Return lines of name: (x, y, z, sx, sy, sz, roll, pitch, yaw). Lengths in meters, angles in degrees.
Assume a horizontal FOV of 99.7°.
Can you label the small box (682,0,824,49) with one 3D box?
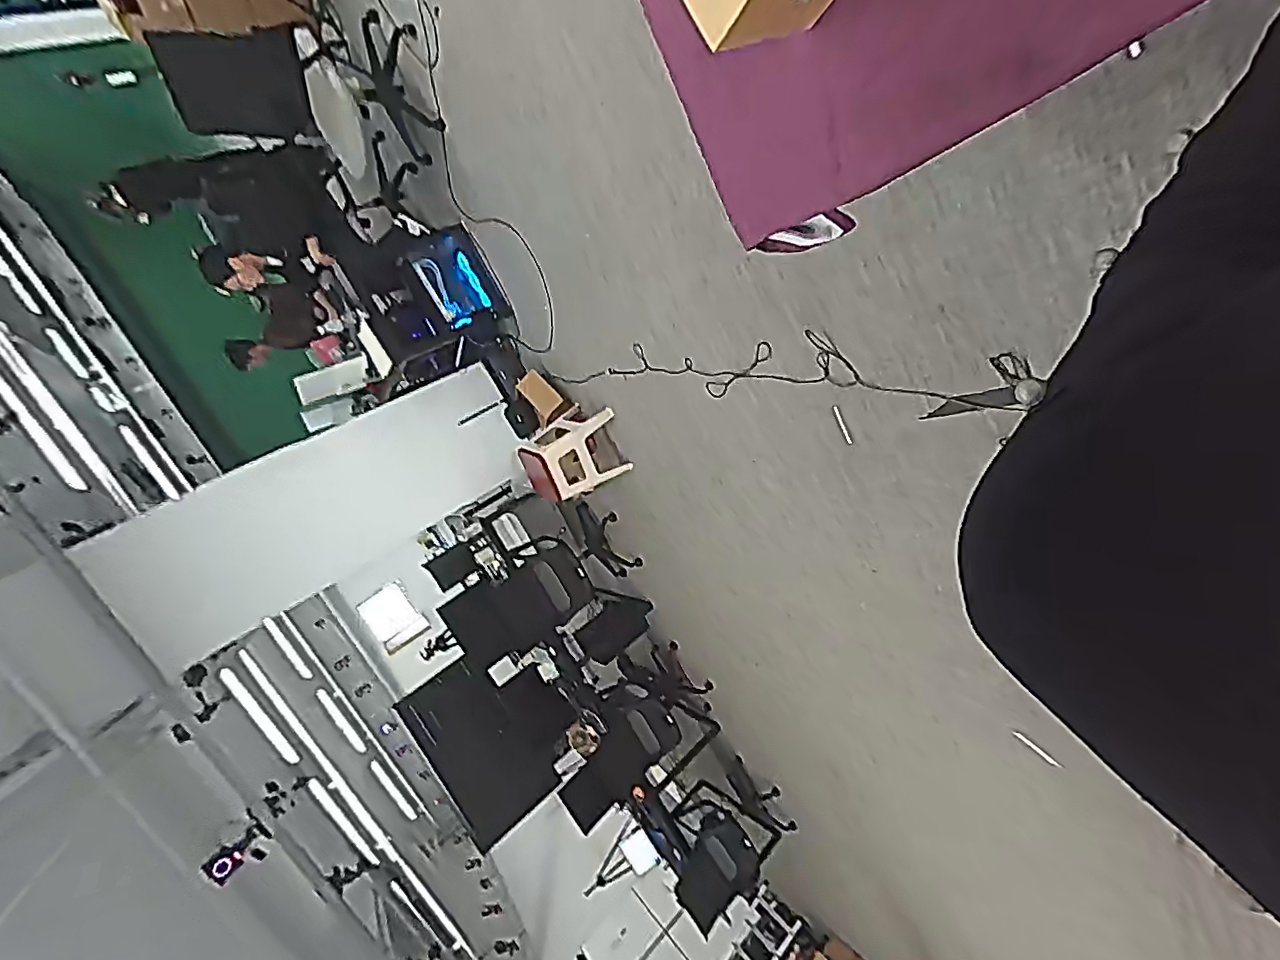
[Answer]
small box: (0.118, -0.542, 0.476, 0.179, 0.176, 0.168, 58, 154, -5)
